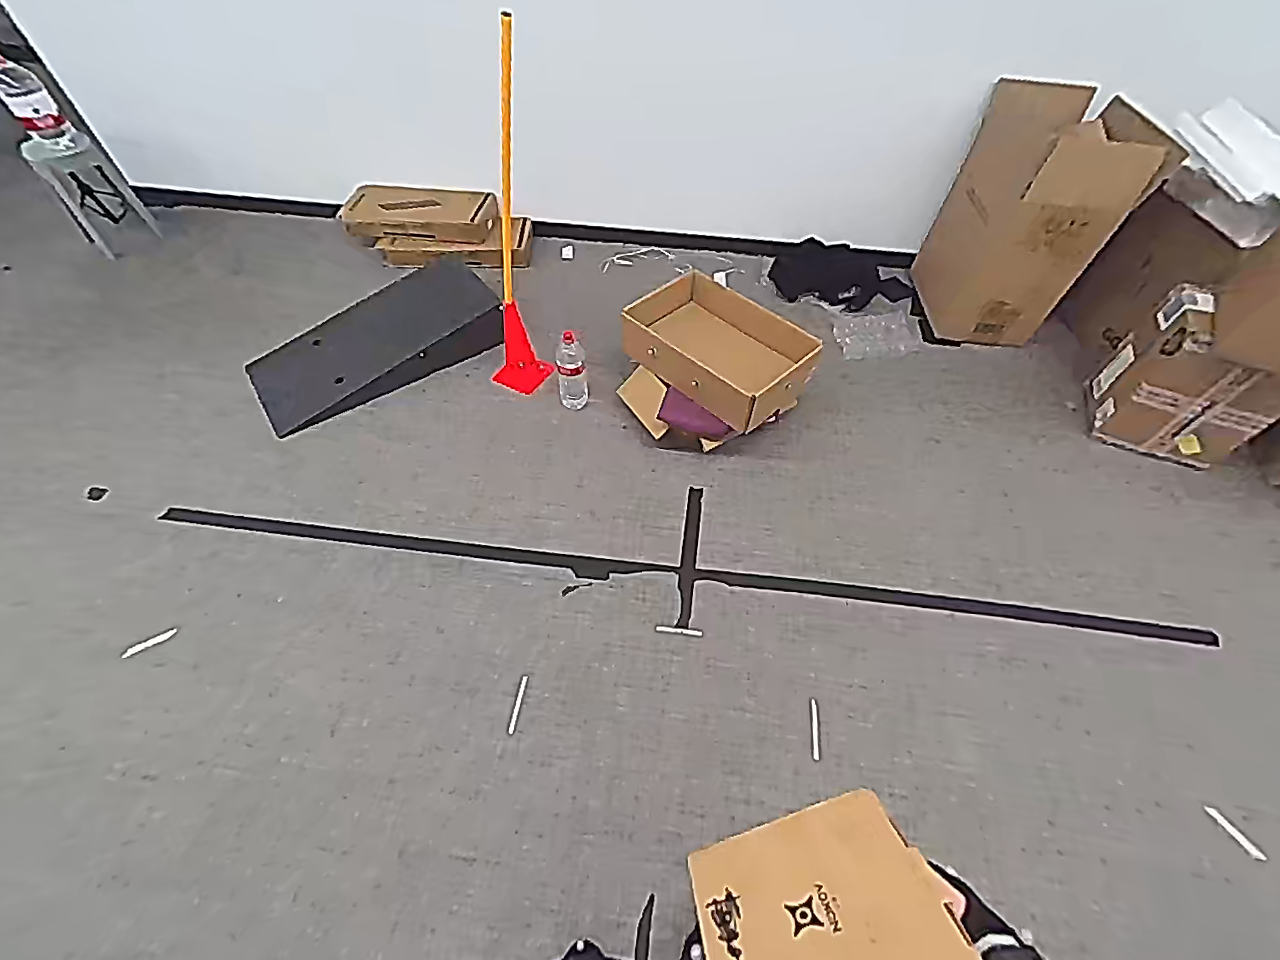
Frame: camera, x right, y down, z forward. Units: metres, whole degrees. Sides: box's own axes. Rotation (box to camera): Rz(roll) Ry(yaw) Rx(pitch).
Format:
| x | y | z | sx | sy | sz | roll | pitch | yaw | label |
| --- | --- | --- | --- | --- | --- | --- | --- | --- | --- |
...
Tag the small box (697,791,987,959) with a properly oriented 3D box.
| x | y | z | sx | sy | sz | roll | pitch | yaw | label |
| --- | --- | --- | --- | --- | --- | --- | --- | --- | --- |
| 0.163 | 0.398 | 0.425 | 0.179 | 0.176 | 0.168 | -20 | 12 | 0 | small box |
